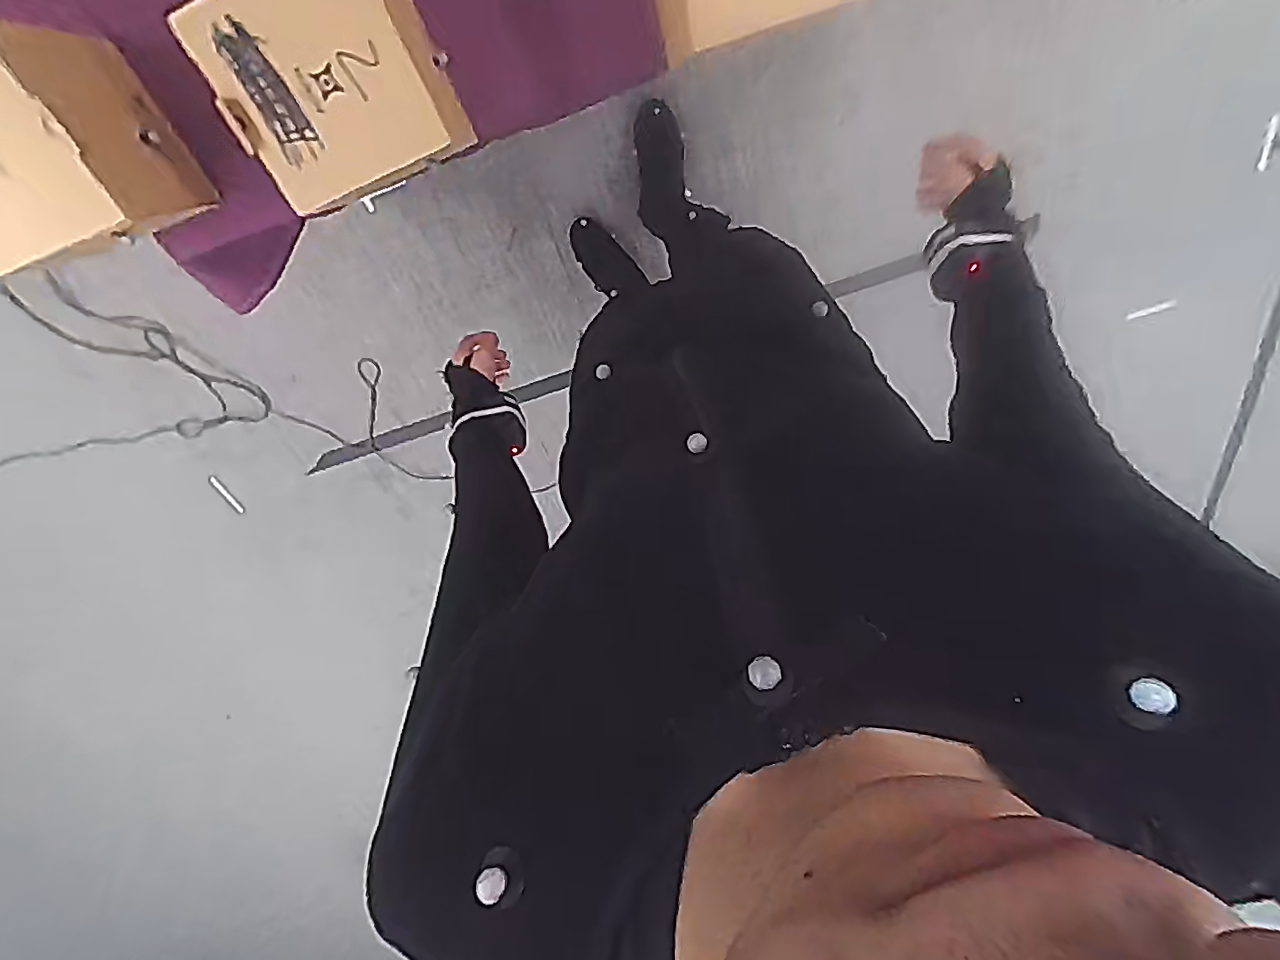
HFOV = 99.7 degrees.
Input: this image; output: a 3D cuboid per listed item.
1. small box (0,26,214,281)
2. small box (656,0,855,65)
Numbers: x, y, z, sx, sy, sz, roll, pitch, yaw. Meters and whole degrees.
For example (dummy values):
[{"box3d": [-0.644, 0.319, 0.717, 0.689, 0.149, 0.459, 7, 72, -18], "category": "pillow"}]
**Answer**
[{"box3d": [-0.612, -0.329, 0.563, 0.179, 0.176, 0.168, -20, 123, 5], "category": "small box"}, {"box3d": [0.096, -0.529, 0.514, 0.168, 0.176, 0.179, -15, 124, 4], "category": "small box"}]
